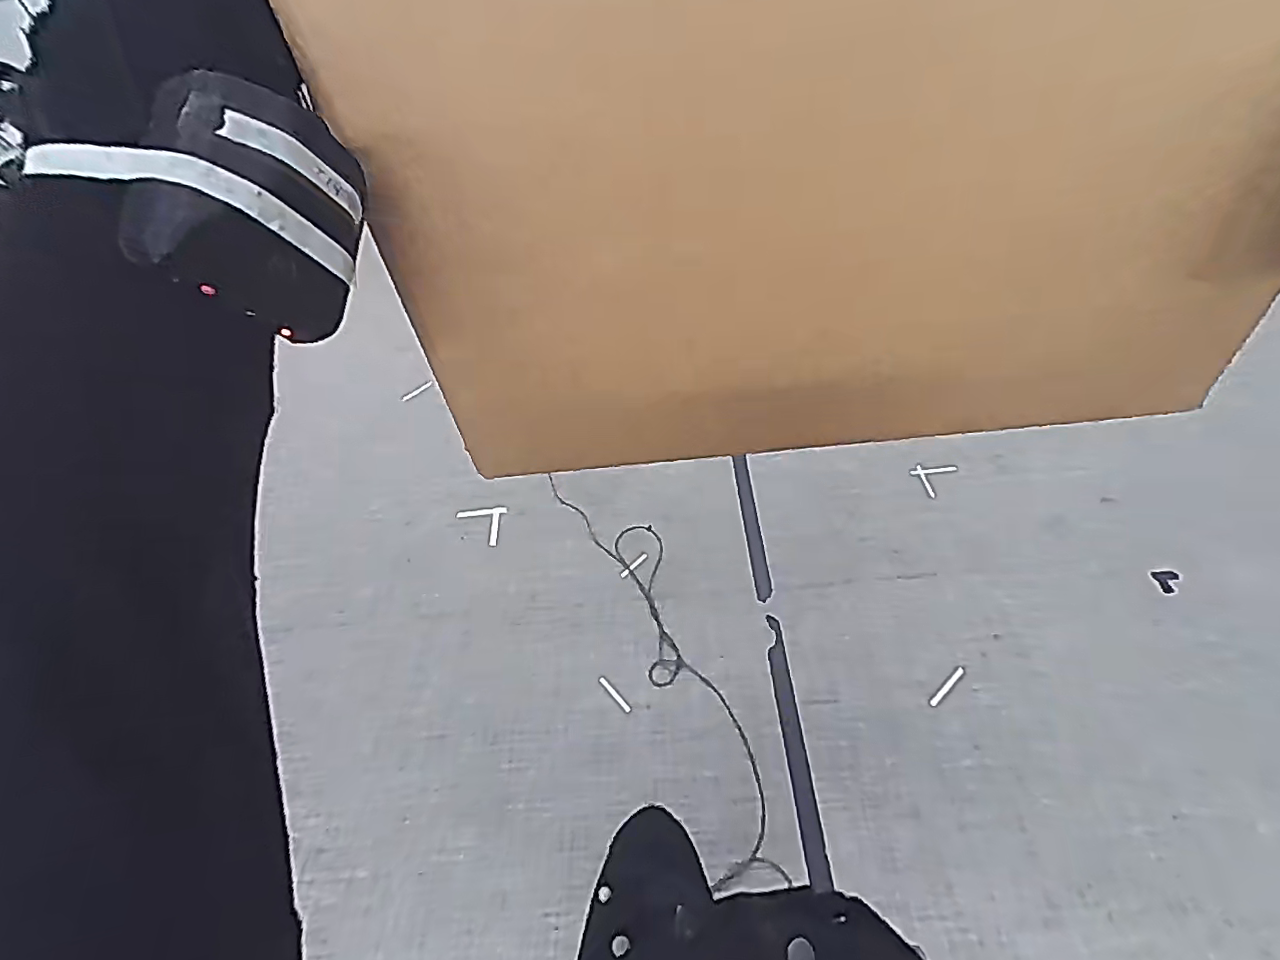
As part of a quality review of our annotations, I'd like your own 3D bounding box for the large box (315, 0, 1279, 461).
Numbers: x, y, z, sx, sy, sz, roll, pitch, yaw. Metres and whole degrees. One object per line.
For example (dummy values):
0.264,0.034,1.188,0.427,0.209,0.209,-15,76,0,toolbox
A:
0.081,-0.238,0.332,0.408,0.320,0.320,-5,43,3,large box
